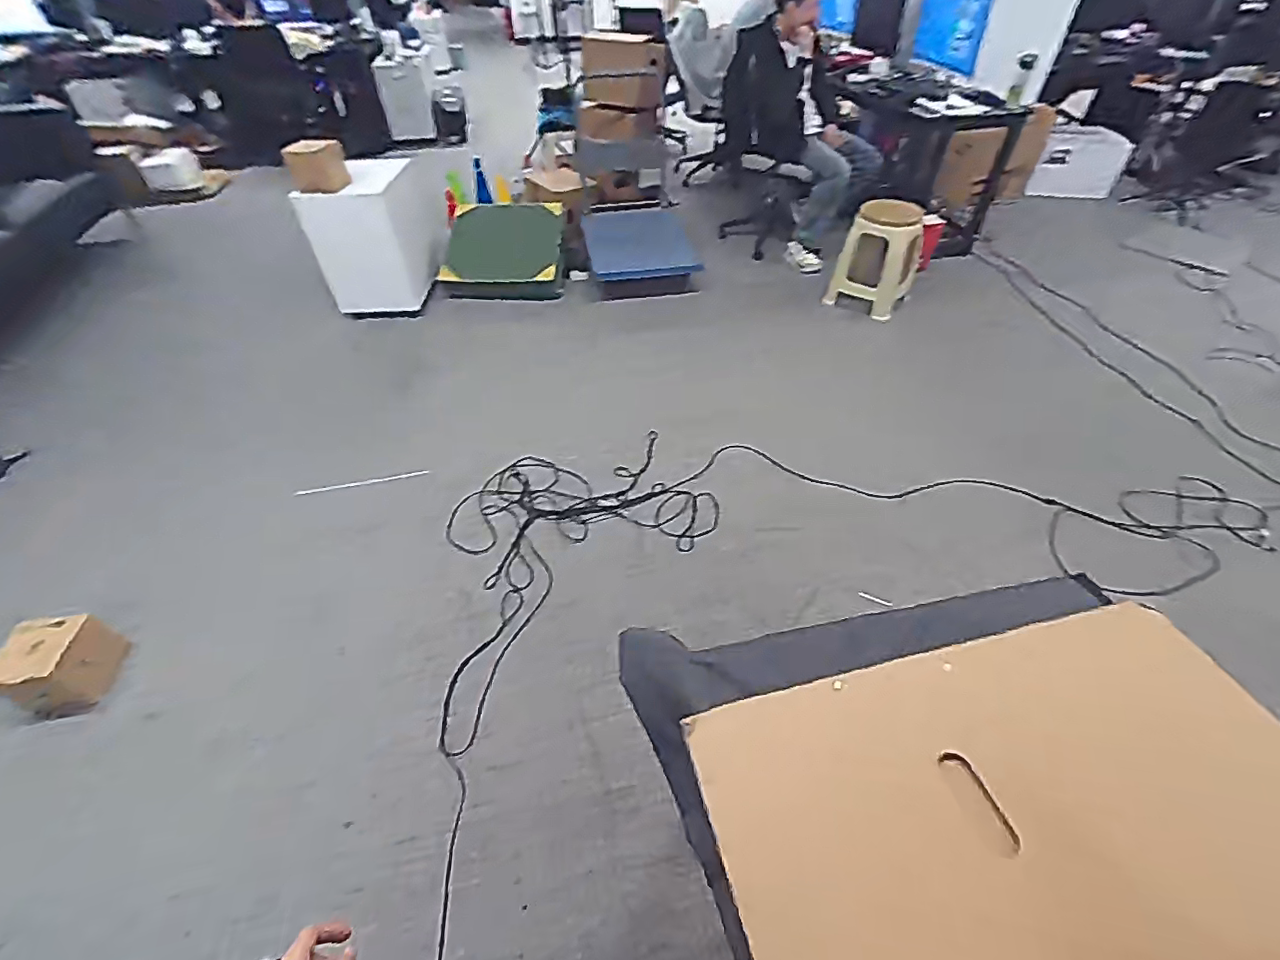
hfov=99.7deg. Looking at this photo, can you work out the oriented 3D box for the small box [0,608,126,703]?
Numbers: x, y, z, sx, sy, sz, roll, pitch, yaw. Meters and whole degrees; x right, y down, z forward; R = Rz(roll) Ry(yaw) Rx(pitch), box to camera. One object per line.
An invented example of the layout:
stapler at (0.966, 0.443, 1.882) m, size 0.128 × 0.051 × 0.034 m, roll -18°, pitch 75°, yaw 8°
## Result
small box at (-1.507, 0.461, 1.402) m, size 0.168 × 0.176 × 0.179 m, roll -7°, pitch 47°, yaw -6°
